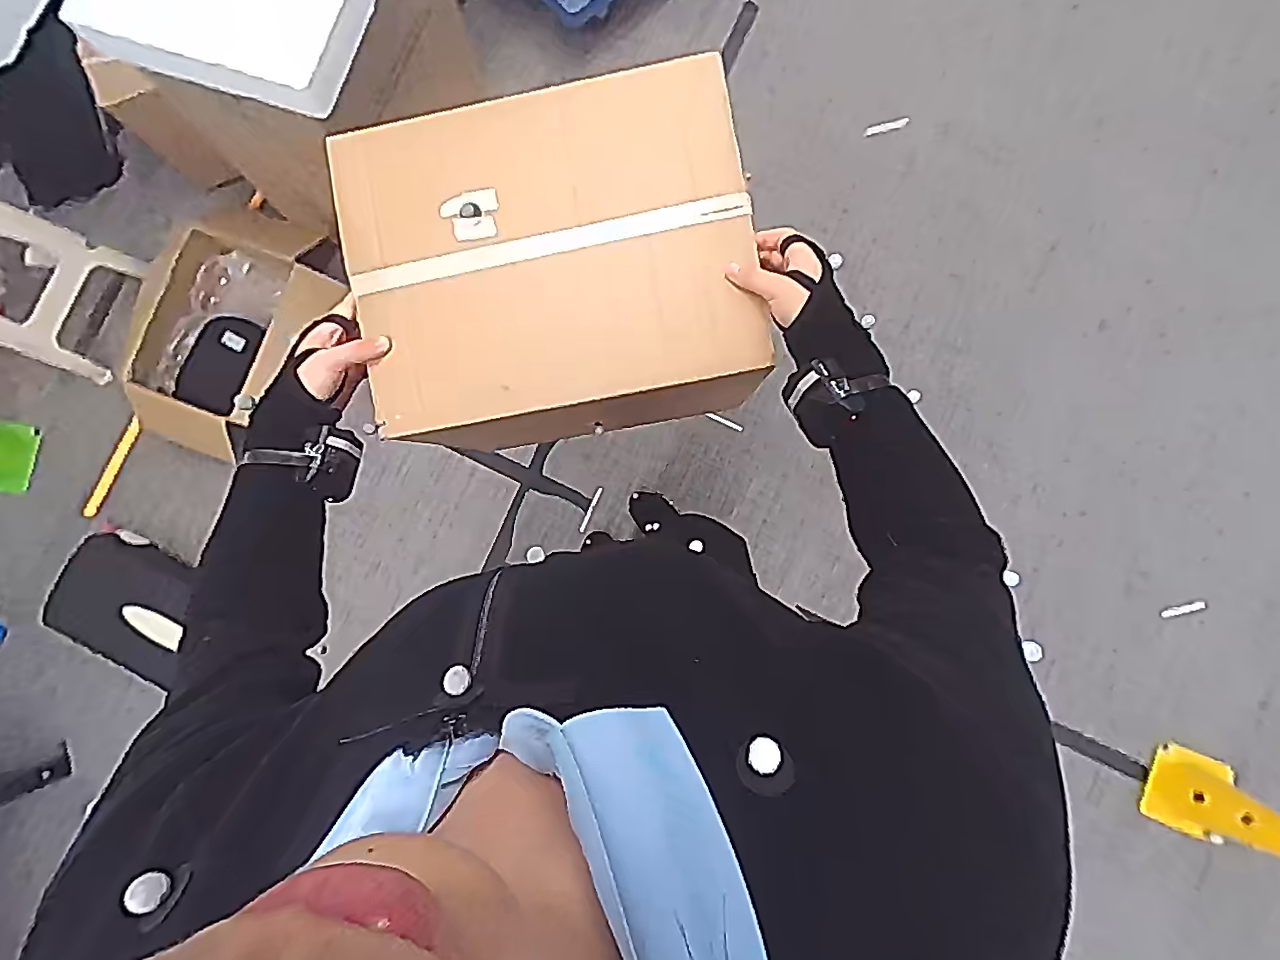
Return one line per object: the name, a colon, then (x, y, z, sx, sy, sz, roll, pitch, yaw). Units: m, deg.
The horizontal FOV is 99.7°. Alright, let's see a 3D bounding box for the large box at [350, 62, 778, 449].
large box: (-0.071, -0.229, 0.695, 0.408, 0.320, 0.320, -10, 88, 5)
